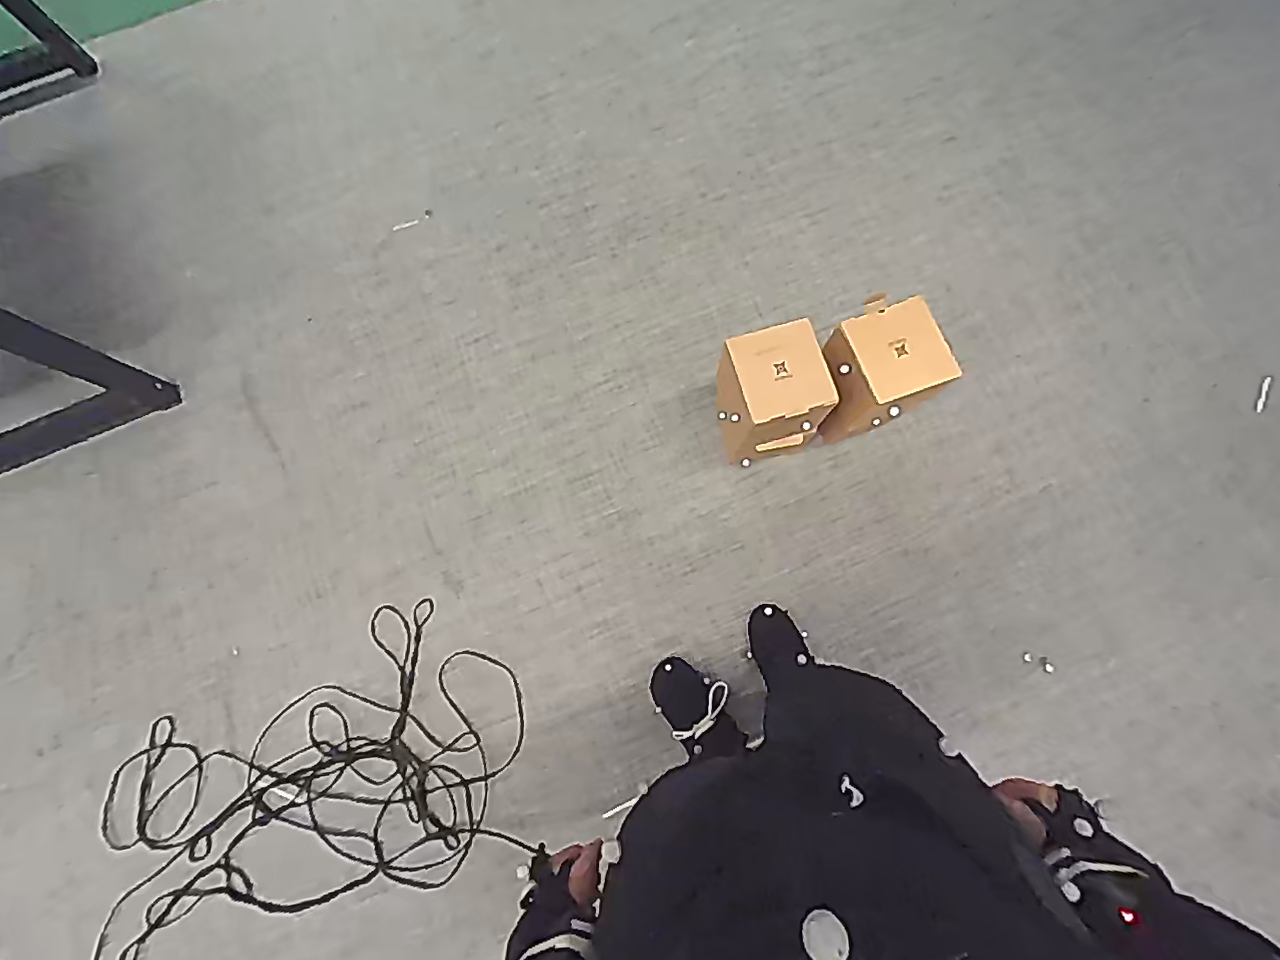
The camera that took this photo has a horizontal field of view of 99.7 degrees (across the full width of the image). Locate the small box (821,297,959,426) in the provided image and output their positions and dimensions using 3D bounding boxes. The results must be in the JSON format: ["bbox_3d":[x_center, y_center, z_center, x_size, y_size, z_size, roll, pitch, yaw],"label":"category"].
[{"bbox_3d":[0.476,-0.220,1.066,0.168,0.176,0.179,-20,77,-2],"label":"small box"}]

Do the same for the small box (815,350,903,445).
[{"bbox_3d":[0.487,-0.203,1.229,0.168,0.176,0.179,-19,77,-3],"label":"small box"}]

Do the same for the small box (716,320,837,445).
[{"bbox_3d":[0.258,-0.180,1.065,0.168,0.176,0.179,-16,76,-3],"label":"small box"}]
